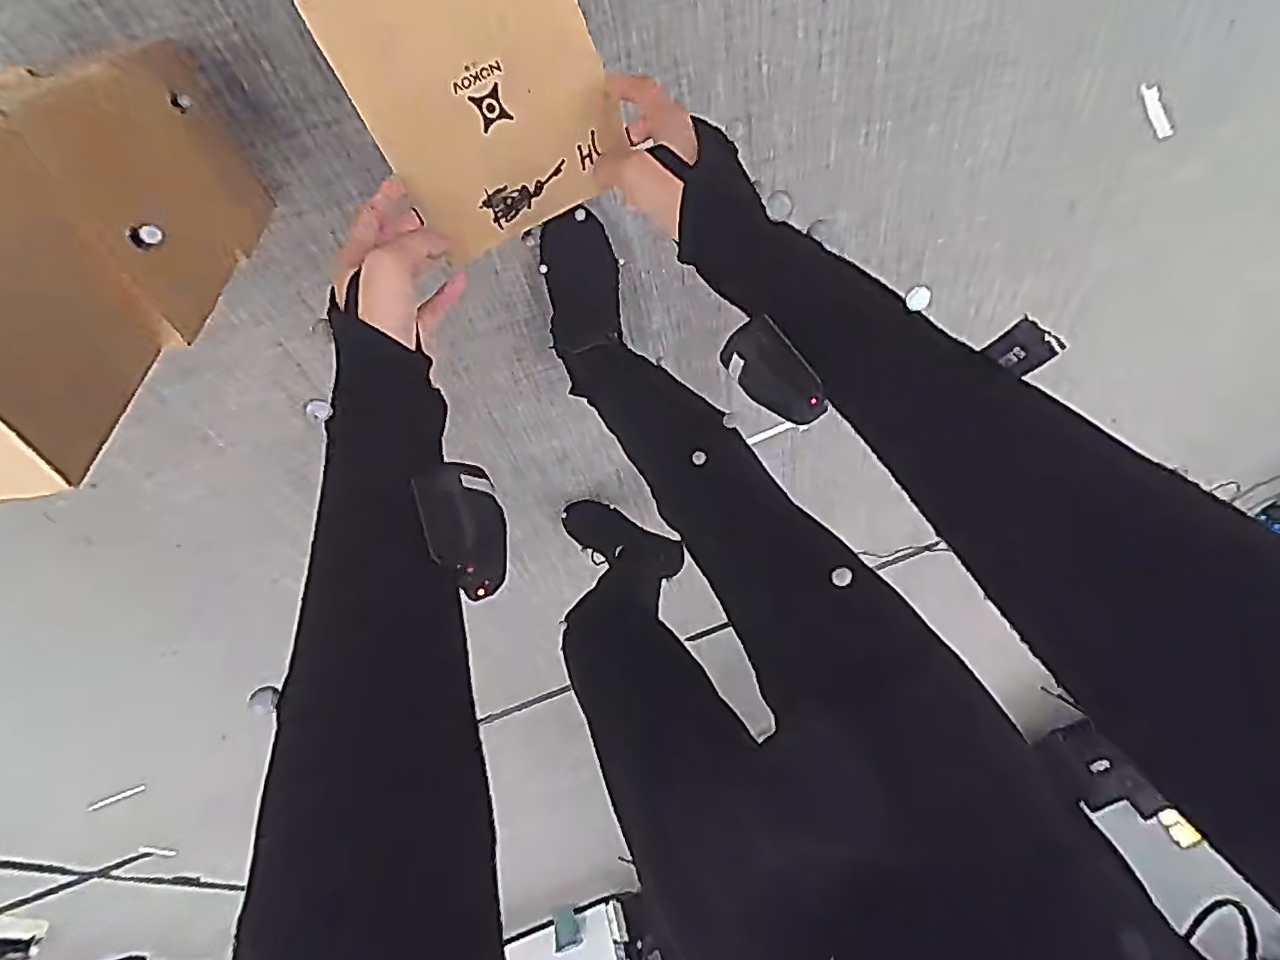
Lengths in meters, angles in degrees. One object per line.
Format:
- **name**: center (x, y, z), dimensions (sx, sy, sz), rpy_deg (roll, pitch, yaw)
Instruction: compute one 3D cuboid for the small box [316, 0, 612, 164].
- **small box**: center (-0.142, -0.358, 0.396), dimensions (0.168, 0.176, 0.179), rpy_deg (-26, 121, -1)
